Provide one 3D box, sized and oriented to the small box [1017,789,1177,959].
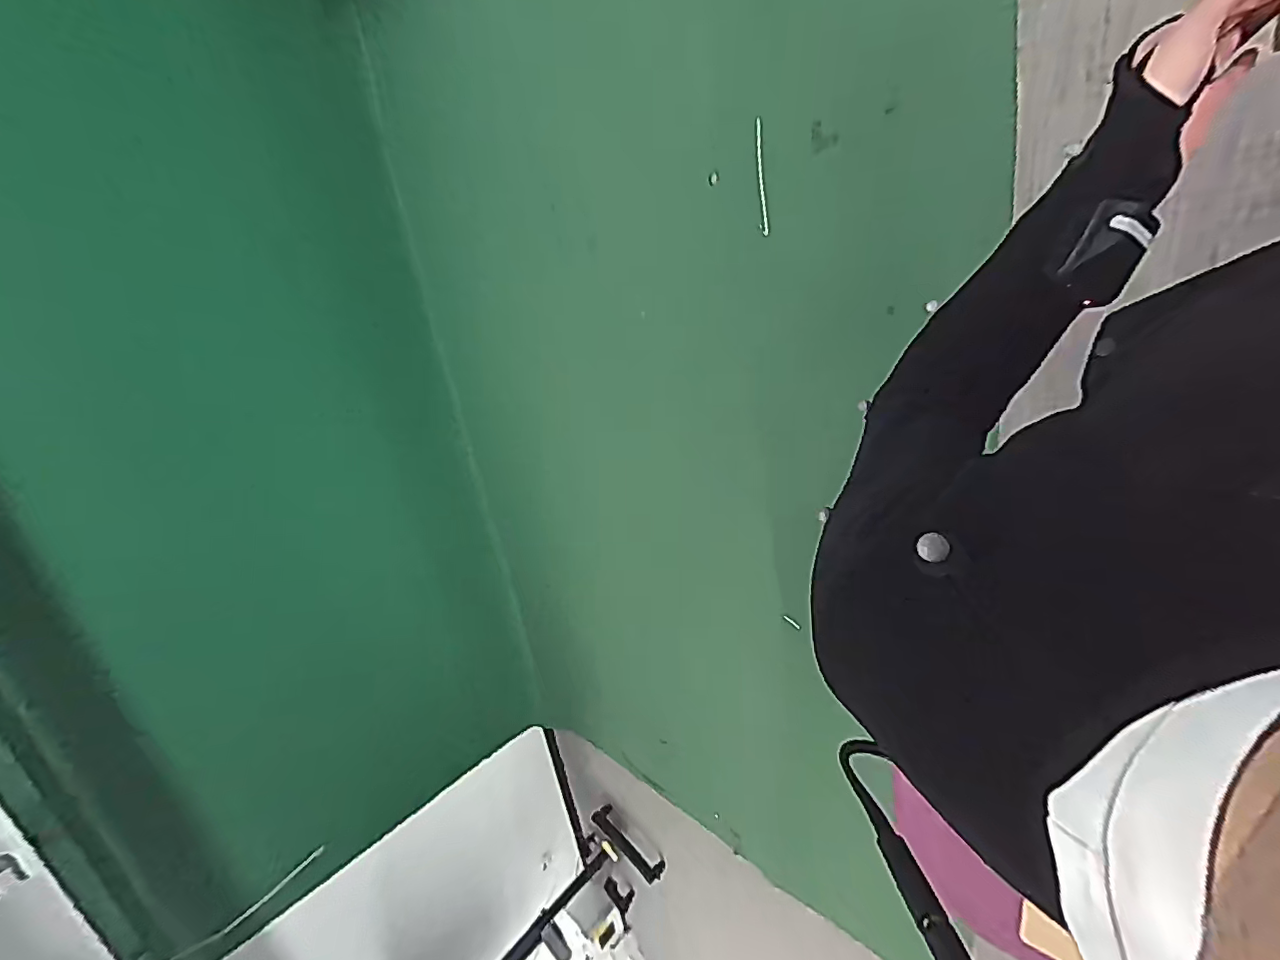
[{"bbox_3d":[0.718,0.644,0.852,0.168,0.176,0.179,10,118,43],"label":"small box"}]
